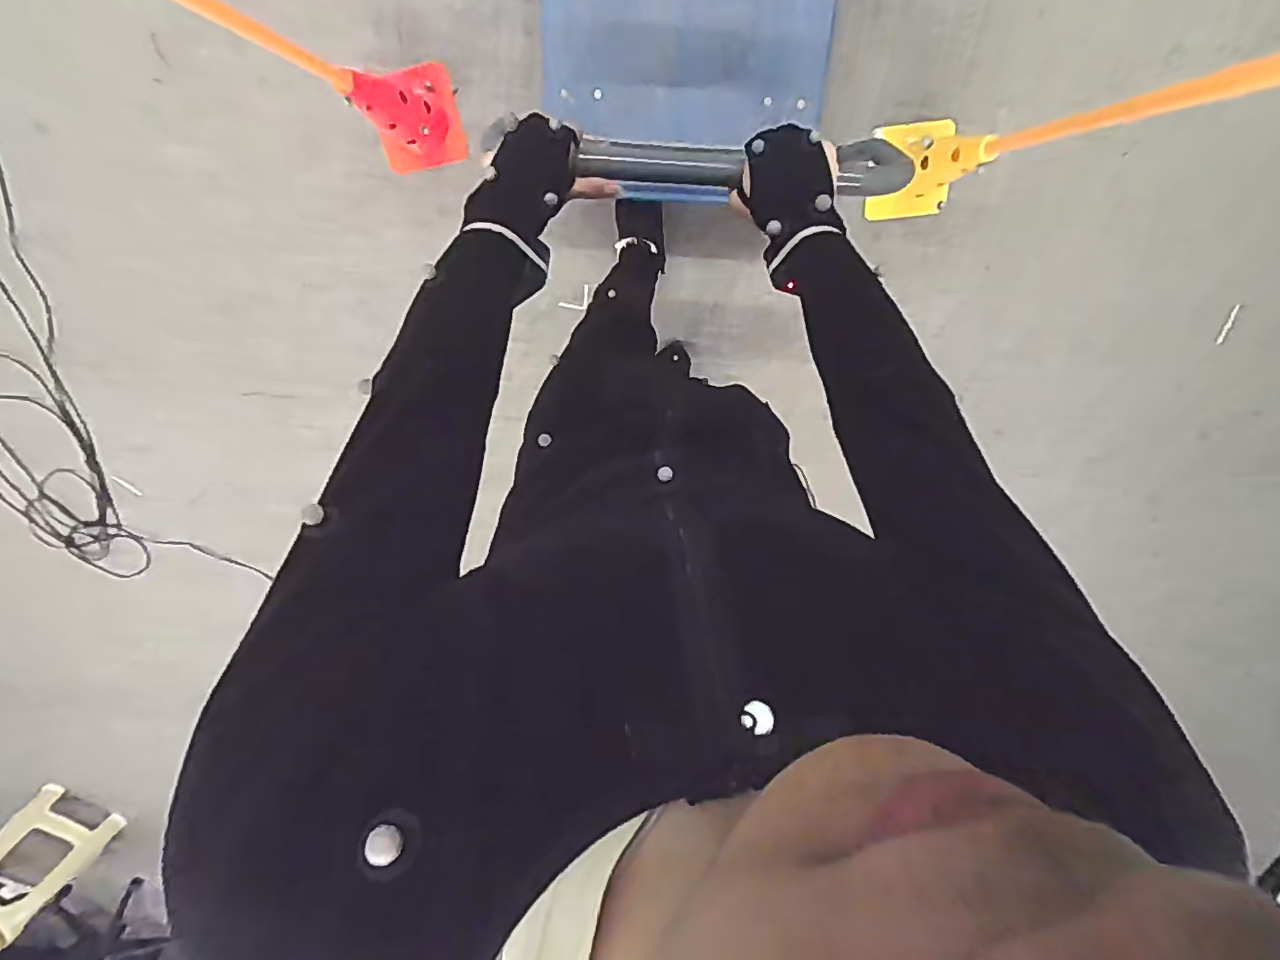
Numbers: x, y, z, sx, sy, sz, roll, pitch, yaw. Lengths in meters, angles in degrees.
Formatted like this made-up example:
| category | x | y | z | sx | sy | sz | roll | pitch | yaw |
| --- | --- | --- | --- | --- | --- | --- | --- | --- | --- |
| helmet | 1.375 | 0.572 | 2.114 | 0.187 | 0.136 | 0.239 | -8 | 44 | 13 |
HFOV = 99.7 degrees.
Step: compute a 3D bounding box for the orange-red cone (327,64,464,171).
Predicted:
| category | x | y | z | sx | sy | sz | roll | pitch | yaw |
| --- | --- | --- | --- | --- | --- | --- | --- | --- | --- |
| orange-red cone | -0.534 | -0.784 | 1.120 | 0.199 | 0.360 | 0.198 | -8 | 113 | 6 |
